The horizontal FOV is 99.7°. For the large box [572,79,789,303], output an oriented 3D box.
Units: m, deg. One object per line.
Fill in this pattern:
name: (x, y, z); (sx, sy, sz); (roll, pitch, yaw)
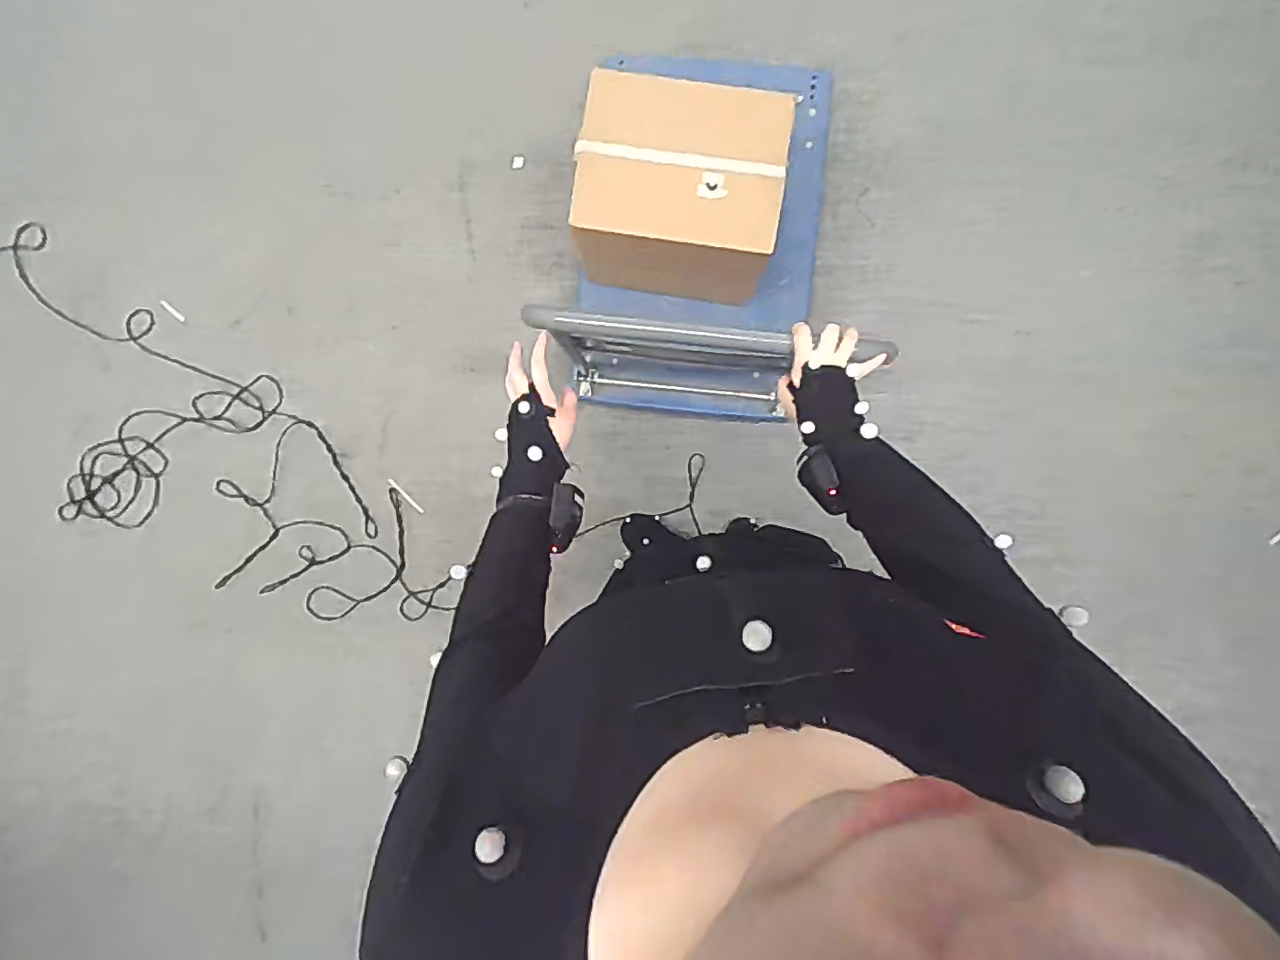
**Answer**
large box: (0.079, -0.620, 1.216); (0.408, 0.320, 0.320); (8, 90, 1)
